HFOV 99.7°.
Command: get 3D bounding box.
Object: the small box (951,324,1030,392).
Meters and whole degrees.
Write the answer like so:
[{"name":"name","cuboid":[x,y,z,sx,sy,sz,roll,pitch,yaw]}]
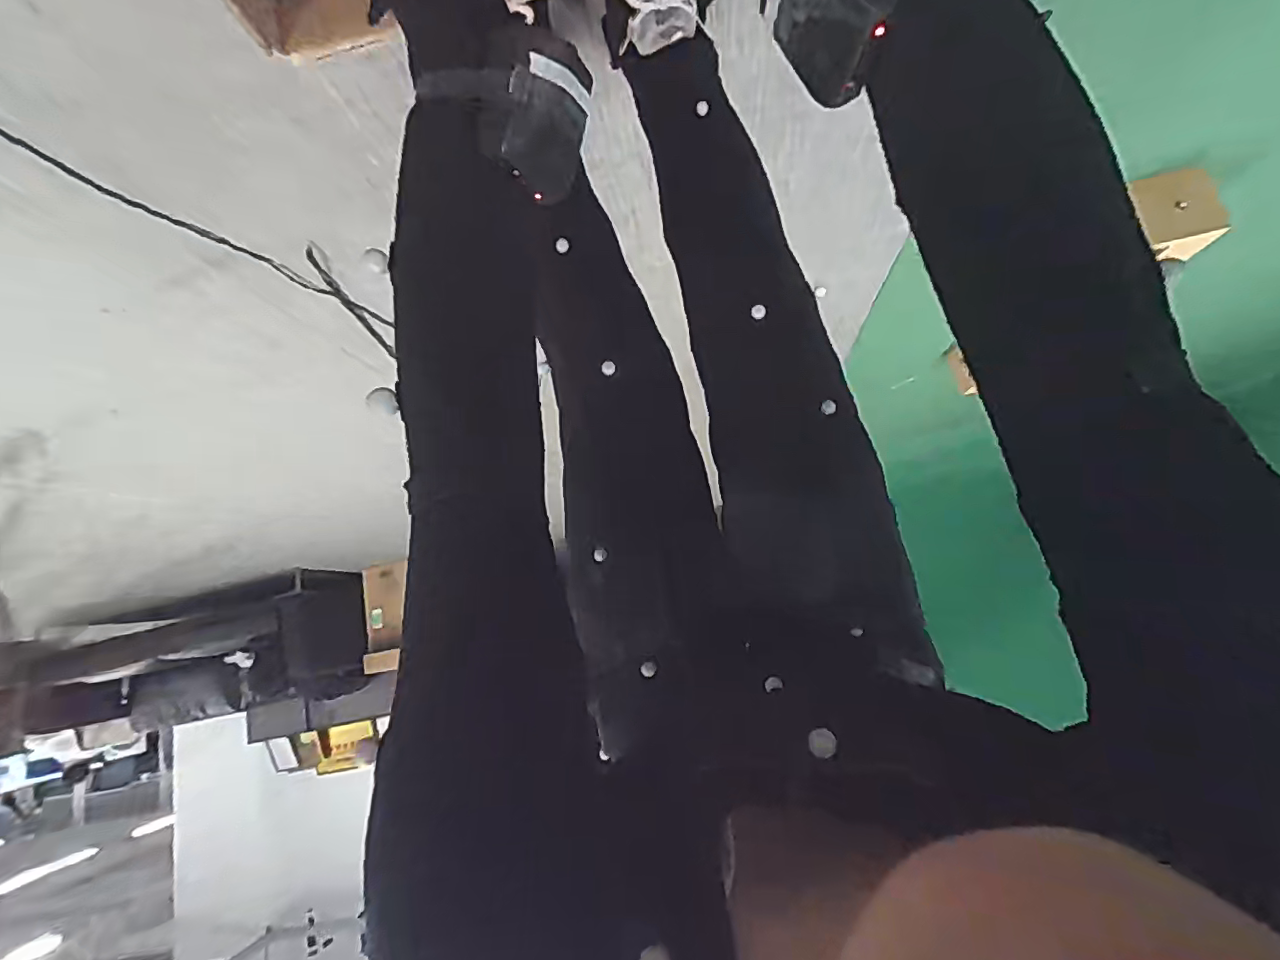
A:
[{"name":"small box","cuboid":[1.271,-0.444,1.976,0.168,0.176,0.179,-13,167,5]}]
